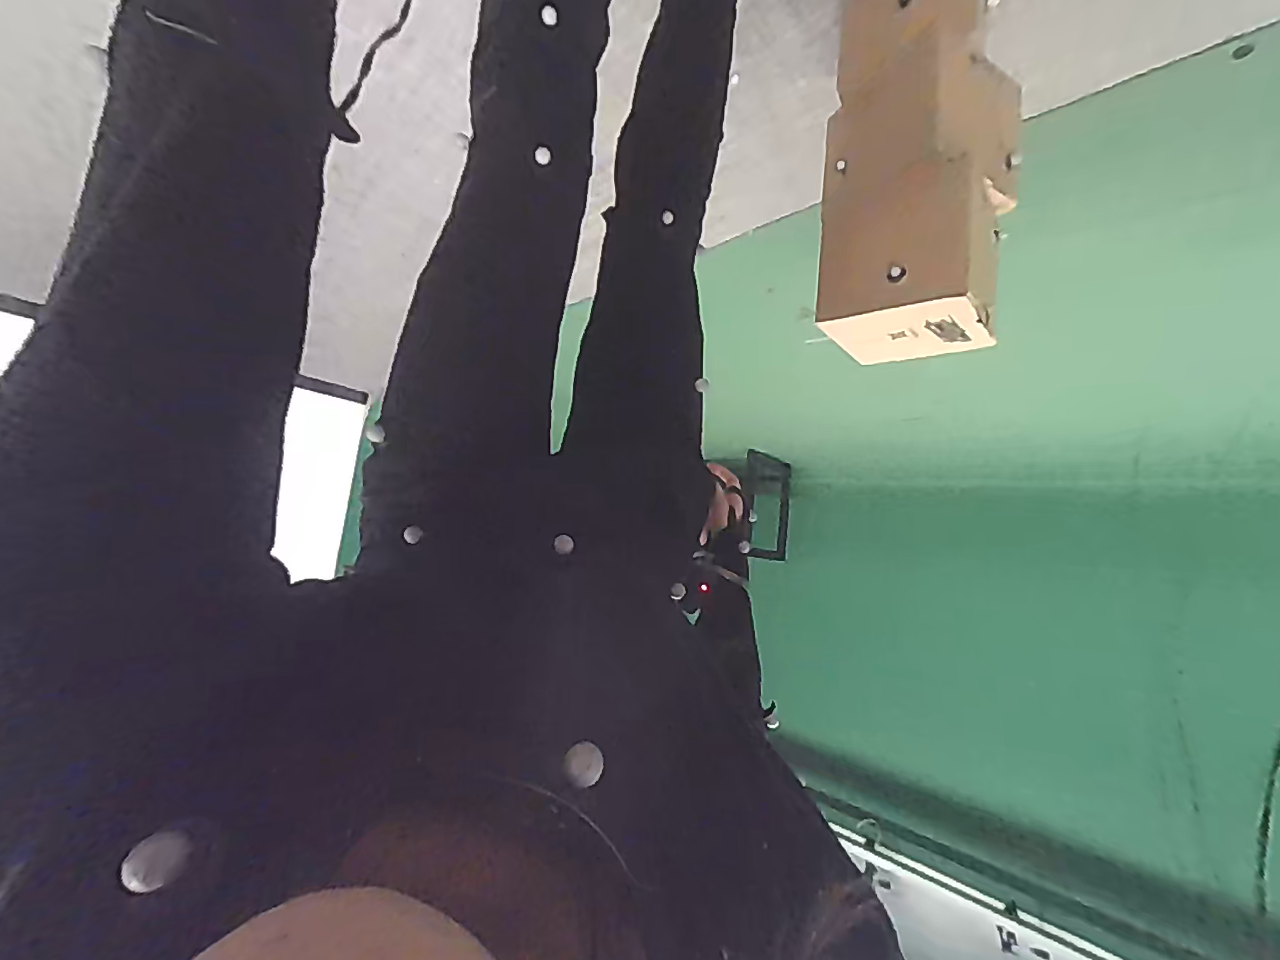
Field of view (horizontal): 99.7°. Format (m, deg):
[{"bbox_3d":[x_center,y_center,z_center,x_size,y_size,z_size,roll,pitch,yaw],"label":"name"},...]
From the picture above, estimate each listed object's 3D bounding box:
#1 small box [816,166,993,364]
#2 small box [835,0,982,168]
[{"bbox_3d":[0.349,-0.269,0.708,0.179,0.176,0.168,1,171,42],"label":"small box"},{"bbox_3d":[0.381,-0.592,0.760,0.168,0.176,0.179,2,170,34],"label":"small box"}]
